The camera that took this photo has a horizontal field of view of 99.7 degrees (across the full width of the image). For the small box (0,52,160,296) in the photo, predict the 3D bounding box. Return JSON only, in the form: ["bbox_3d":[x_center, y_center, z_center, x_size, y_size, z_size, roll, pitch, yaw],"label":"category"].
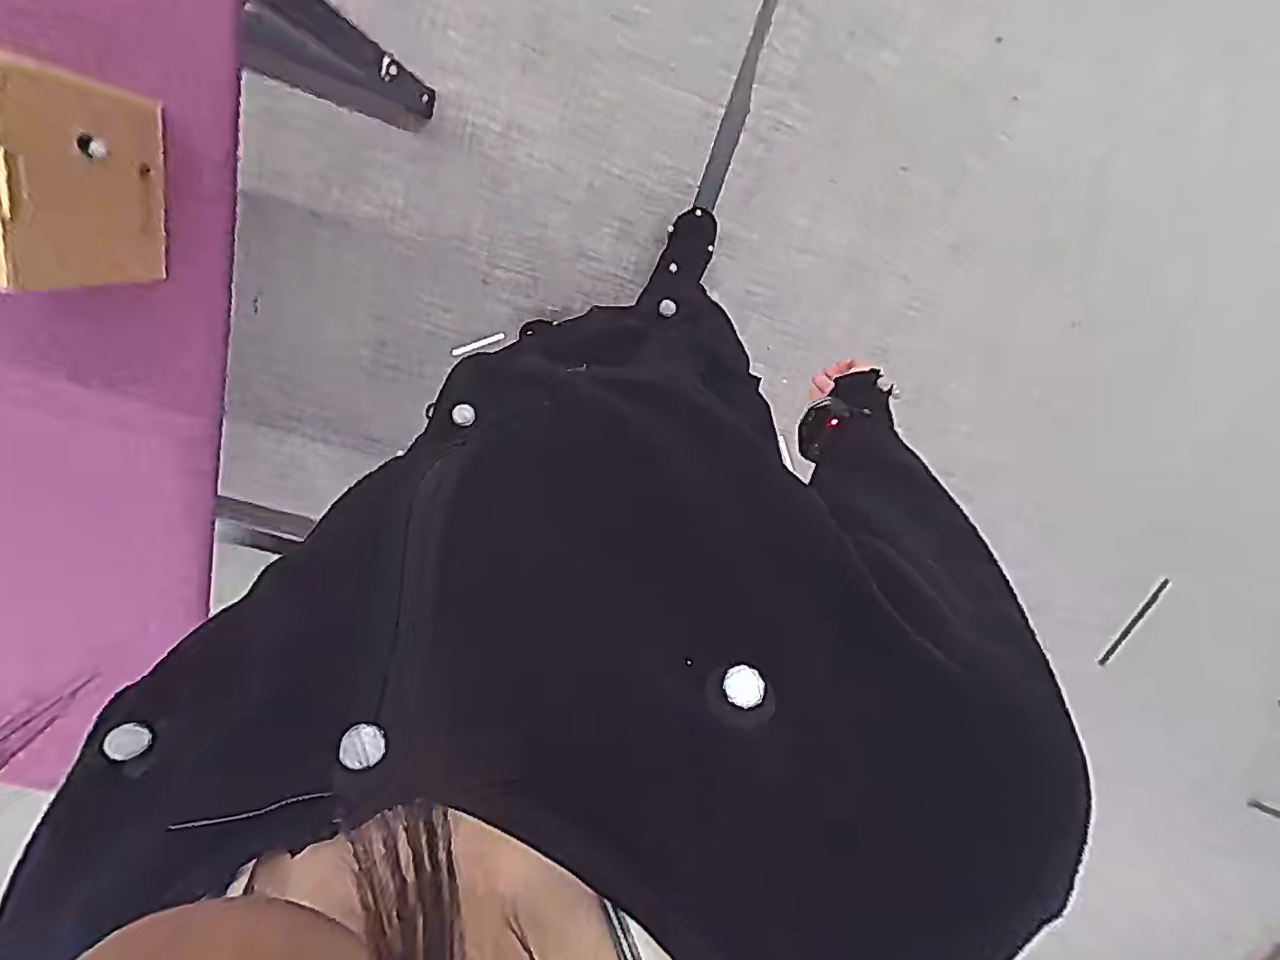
[{"bbox_3d":[-0.552,-0.269,0.452,0.179,0.176,0.168,15,111,-10],"label":"small box"}]
